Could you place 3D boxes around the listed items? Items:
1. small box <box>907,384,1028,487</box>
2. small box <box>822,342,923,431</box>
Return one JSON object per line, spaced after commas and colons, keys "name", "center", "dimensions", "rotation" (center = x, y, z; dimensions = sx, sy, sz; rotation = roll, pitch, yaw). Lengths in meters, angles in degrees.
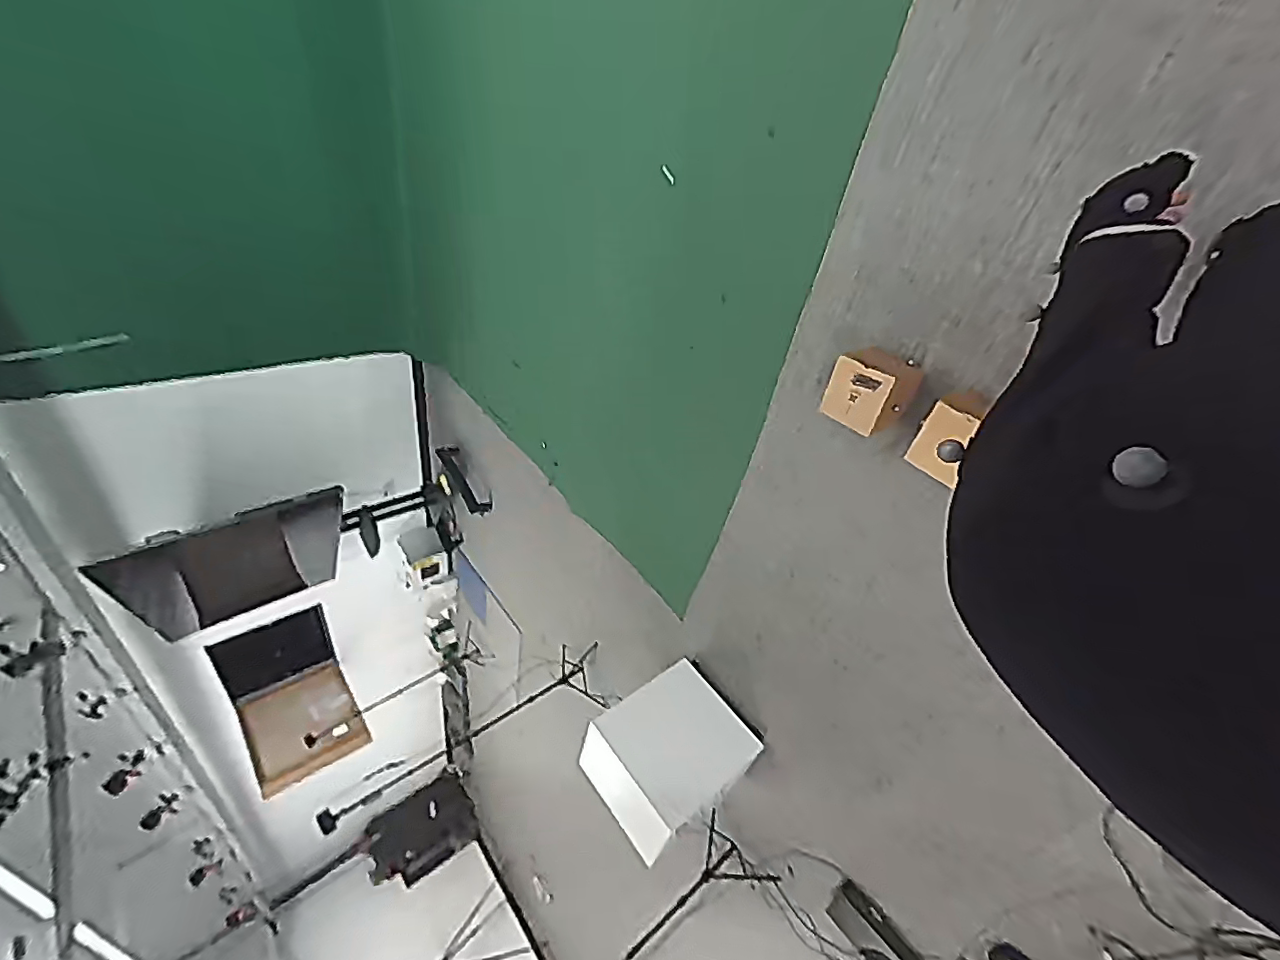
{"name": "small box", "center": [0.808, -0.114, 1.332], "dimensions": [0.168, 0.176, 0.179], "rotation": [43, 136, 33]}
{"name": "small box", "center": [0.639, -0.262, 1.480], "dimensions": [0.168, 0.176, 0.179], "rotation": [40, 135, 35]}
